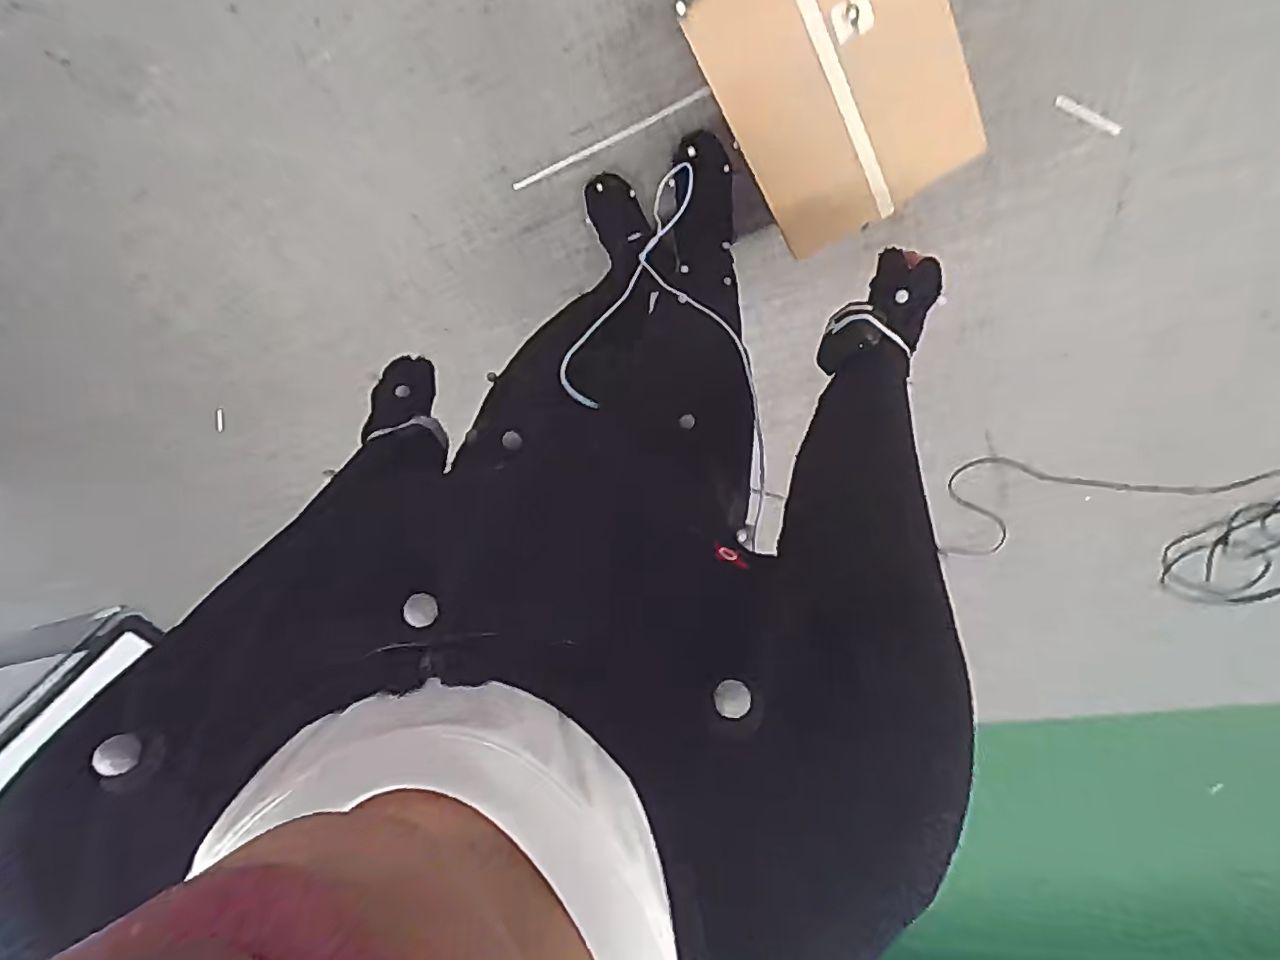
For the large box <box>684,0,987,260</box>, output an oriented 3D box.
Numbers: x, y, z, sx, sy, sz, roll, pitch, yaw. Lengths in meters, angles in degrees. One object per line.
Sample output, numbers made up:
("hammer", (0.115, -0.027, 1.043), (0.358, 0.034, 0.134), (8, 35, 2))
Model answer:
("large box", (0.324, -0.674, 0.927), (0.320, 0.320, 0.408), (-25, 120, 27))
